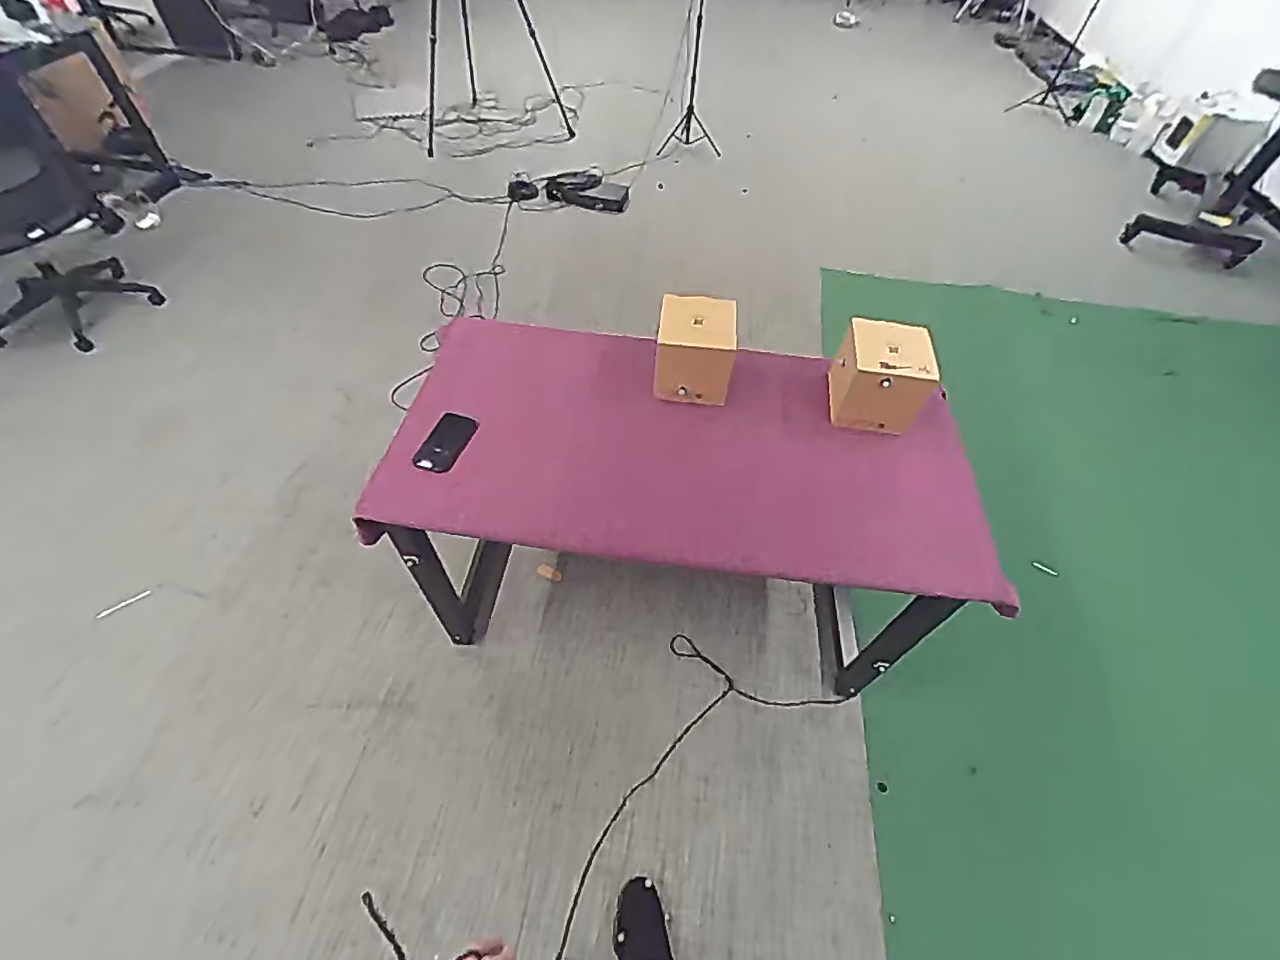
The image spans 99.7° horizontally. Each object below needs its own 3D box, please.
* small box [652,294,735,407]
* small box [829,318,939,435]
[{"bbox_3d":[0.118,-0.292,1.220,0.168,0.176,0.179,6,53,3],"label":"small box"},{"bbox_3d":[0.523,-0.227,1.188,0.168,0.176,0.179,8,52,5],"label":"small box"}]
